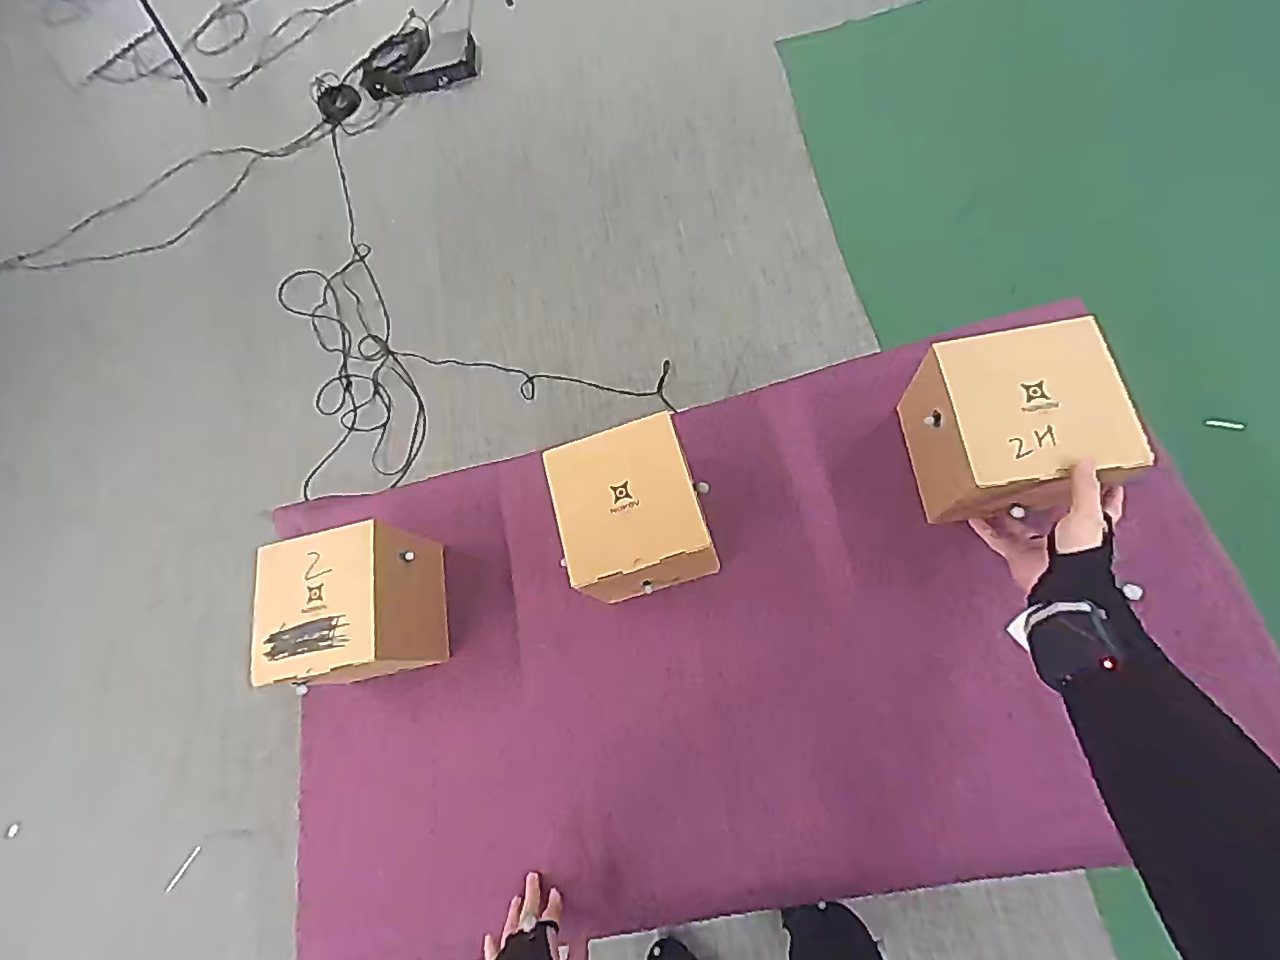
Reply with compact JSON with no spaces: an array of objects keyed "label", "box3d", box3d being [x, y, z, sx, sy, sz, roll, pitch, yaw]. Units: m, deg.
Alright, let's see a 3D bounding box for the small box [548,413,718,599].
[{"label":"small box","box3d":[-0.003,0.044,0.701,0.168,0.176,0.179,-18,71,5]}]
